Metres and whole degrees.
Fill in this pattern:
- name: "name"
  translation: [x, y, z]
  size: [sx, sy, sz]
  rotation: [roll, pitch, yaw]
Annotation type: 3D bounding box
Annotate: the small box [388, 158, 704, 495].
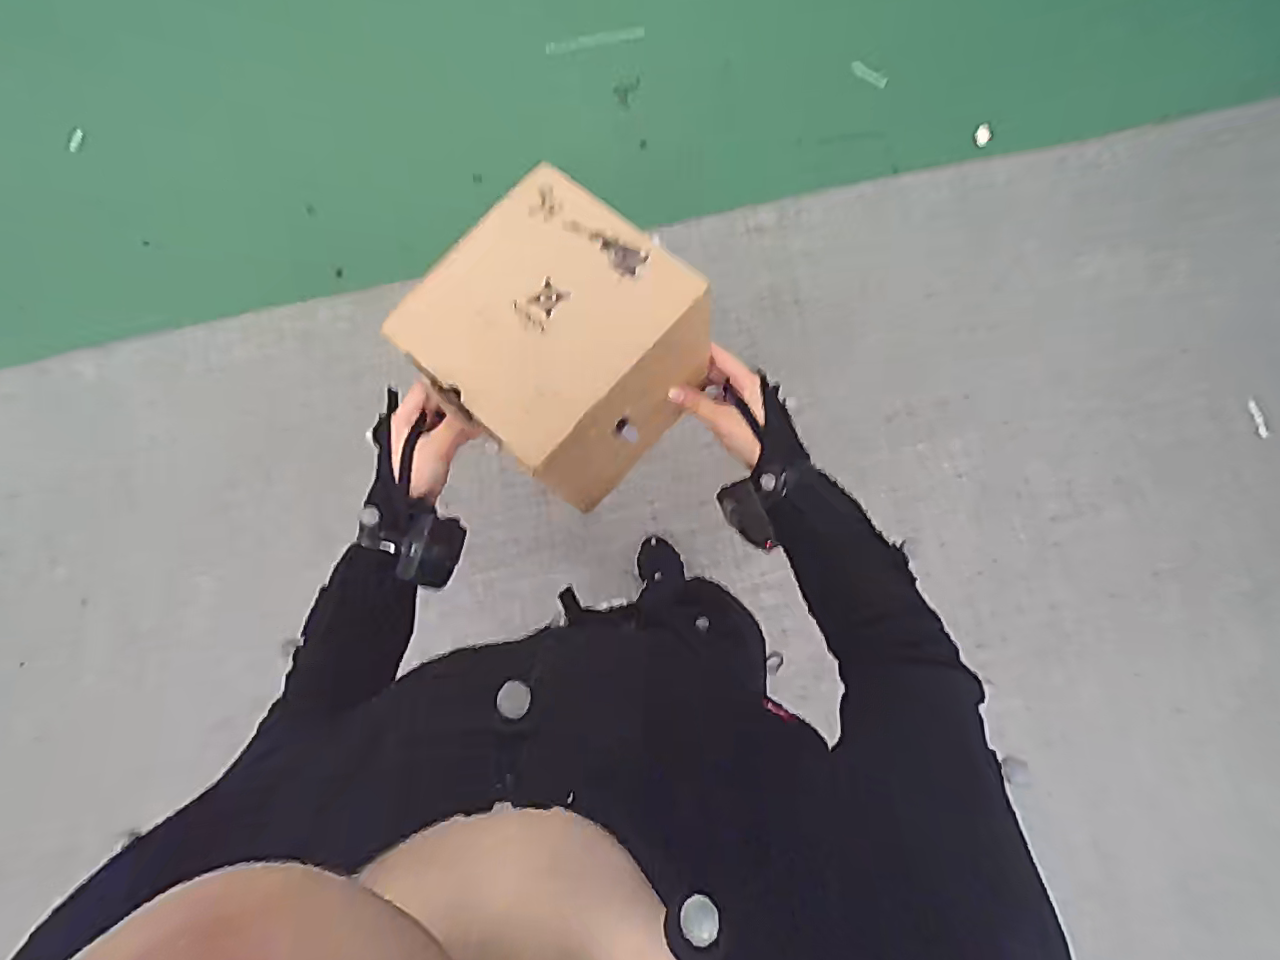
- name: "small box"
  translation: [-0.058, -0.109, 0.454]
  size: [0.168, 0.176, 0.179]
  rotation: [42, 86, 14]
